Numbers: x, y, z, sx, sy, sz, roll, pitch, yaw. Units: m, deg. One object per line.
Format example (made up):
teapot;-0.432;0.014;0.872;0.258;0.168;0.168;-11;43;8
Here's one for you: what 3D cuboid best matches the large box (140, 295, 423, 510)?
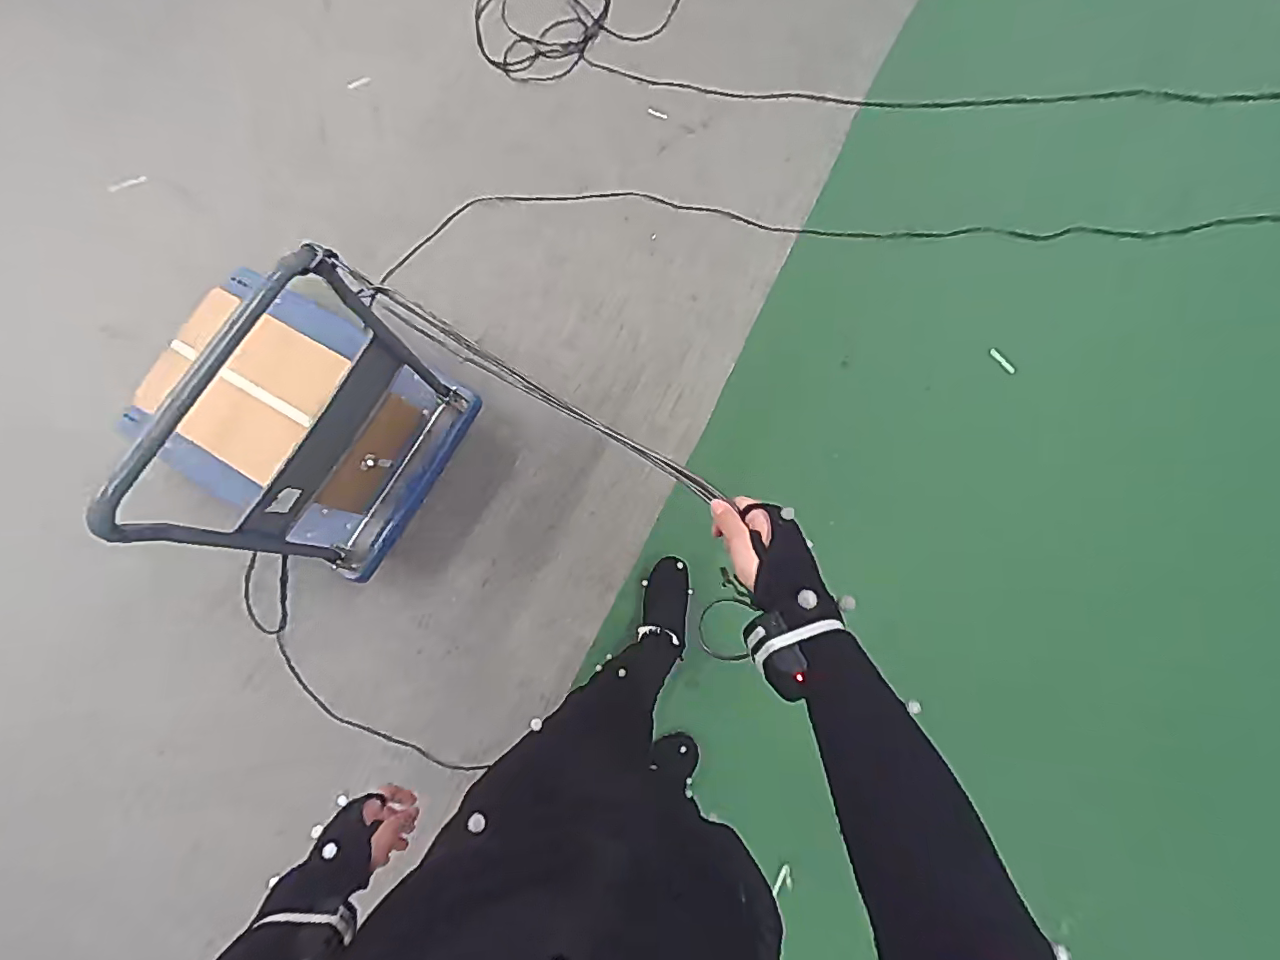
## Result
large box;-0.822;-0.166;1.297;0.408;0.320;0.320;28;80;11
